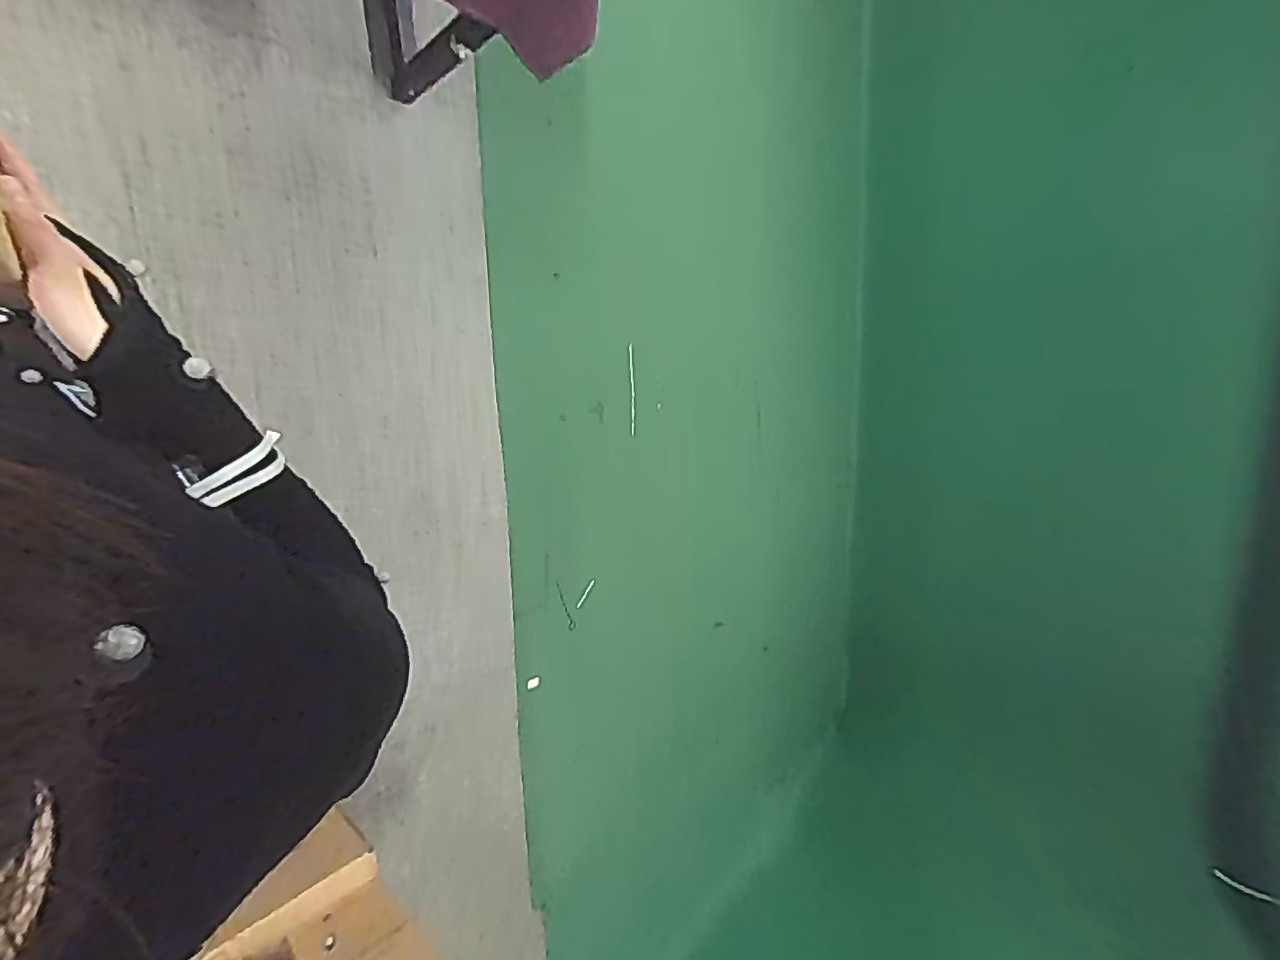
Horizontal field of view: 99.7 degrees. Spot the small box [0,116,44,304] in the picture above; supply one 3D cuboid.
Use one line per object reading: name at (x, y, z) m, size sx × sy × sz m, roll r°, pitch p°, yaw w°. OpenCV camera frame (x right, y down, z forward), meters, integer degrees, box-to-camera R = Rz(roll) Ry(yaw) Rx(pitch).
small box at (-0.412, -0.184, 0.237) m, size 0.168 × 0.176 × 0.179 m, roll -16°, pitch 104°, yaw -40°
